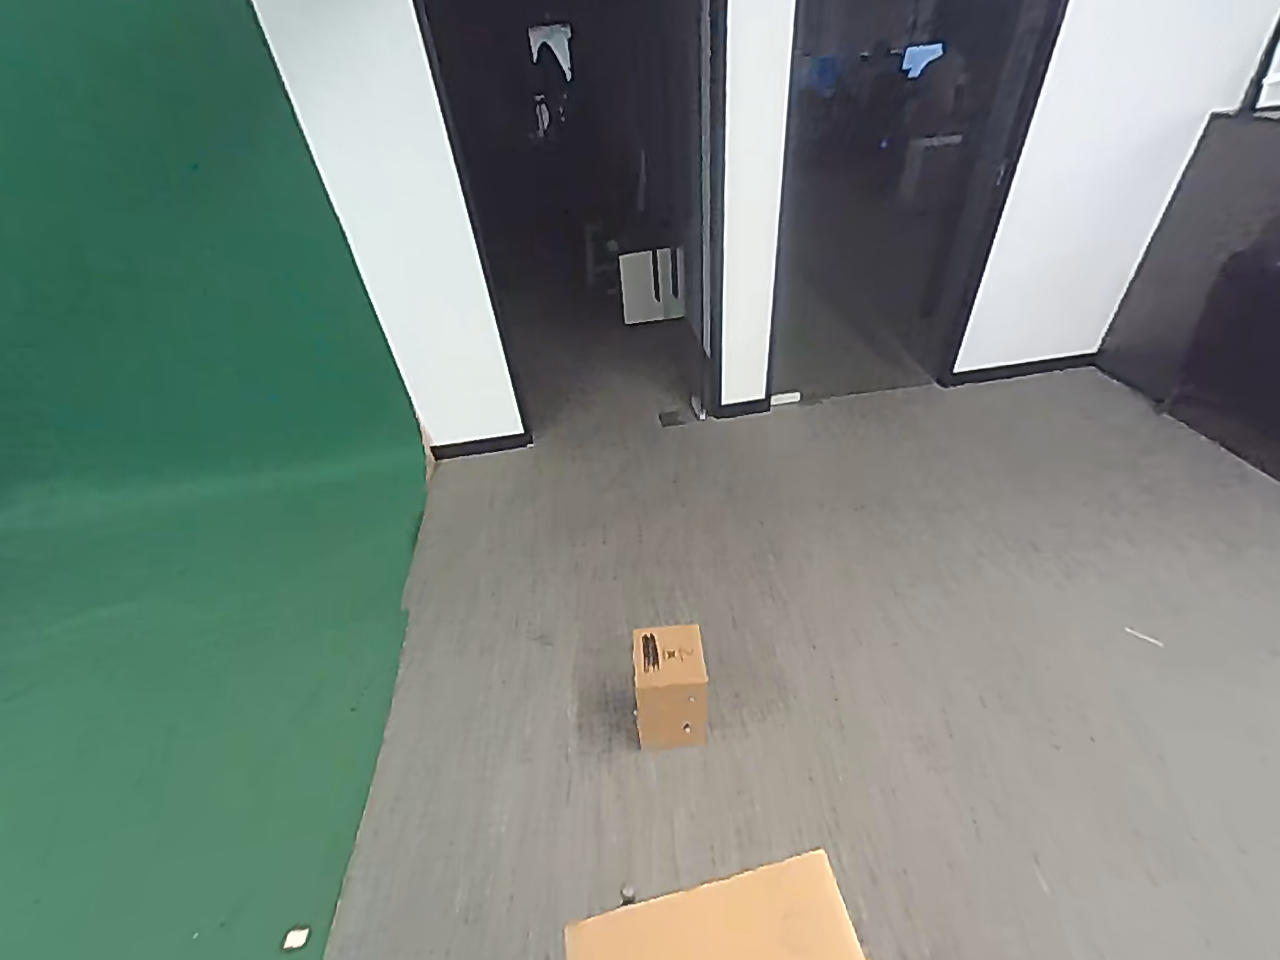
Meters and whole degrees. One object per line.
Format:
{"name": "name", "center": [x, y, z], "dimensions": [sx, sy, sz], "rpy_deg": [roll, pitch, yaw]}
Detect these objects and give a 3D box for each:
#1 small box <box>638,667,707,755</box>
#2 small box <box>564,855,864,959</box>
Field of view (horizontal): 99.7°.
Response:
{"name": "small box", "center": [0.087, 0.636, 1.485], "dimensions": [0.179, 0.176, 0.168], "rpy_deg": [-4, 39, 2]}
{"name": "small box", "center": [0.068, 0.367, 0.352], "dimensions": [0.179, 0.176, 0.168], "rpy_deg": [-19, 49, 3]}
